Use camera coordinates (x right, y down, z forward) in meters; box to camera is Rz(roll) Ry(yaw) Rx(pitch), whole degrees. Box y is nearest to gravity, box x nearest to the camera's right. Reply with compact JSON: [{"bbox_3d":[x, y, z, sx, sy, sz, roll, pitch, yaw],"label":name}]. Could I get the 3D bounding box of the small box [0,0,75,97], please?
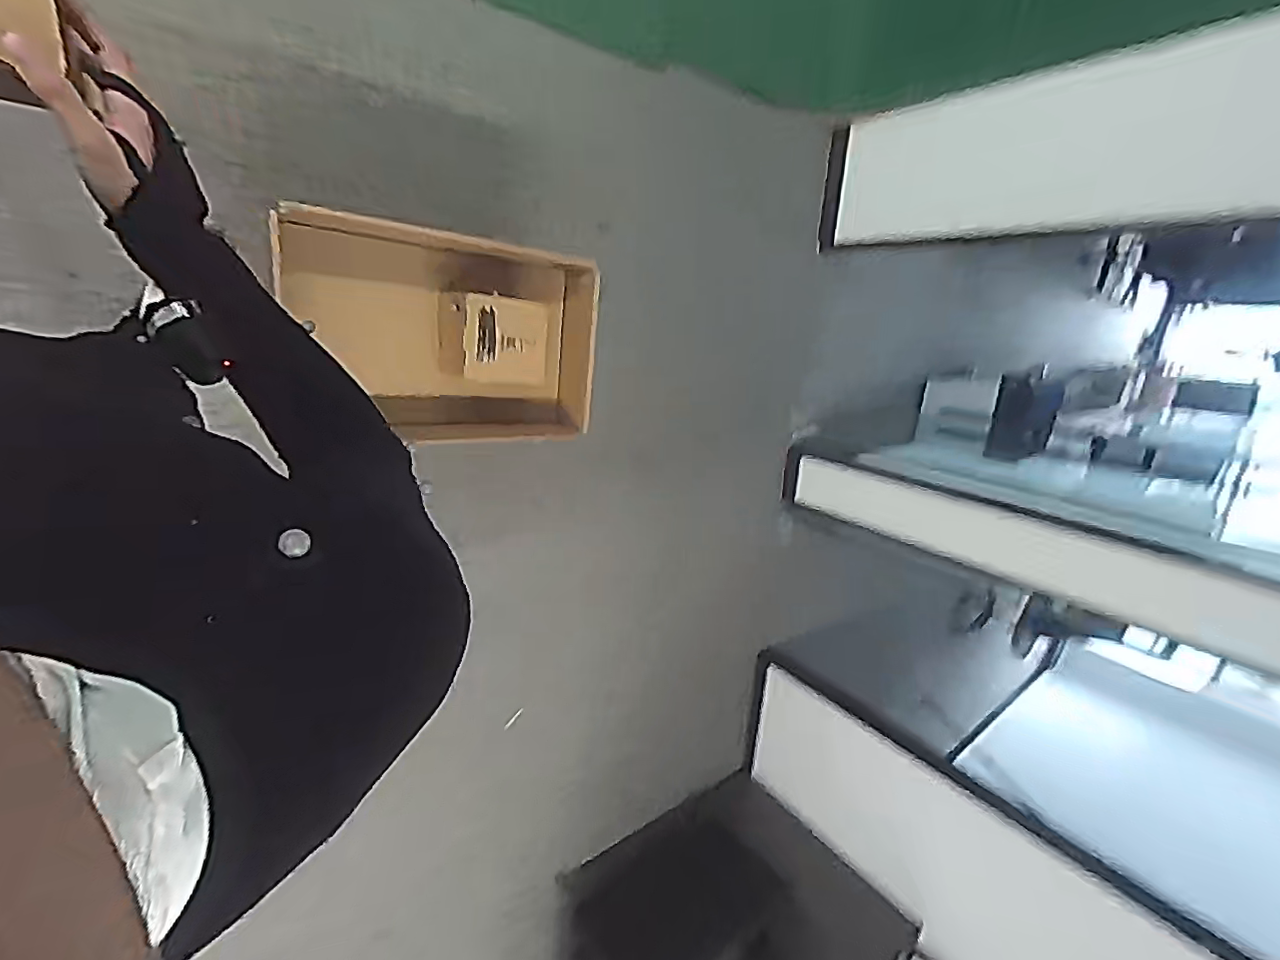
[{"bbox_3d":[-0.511,-0.381,0.351,0.168,0.176,0.179,-10,115,-38],"label":"small box"}]
